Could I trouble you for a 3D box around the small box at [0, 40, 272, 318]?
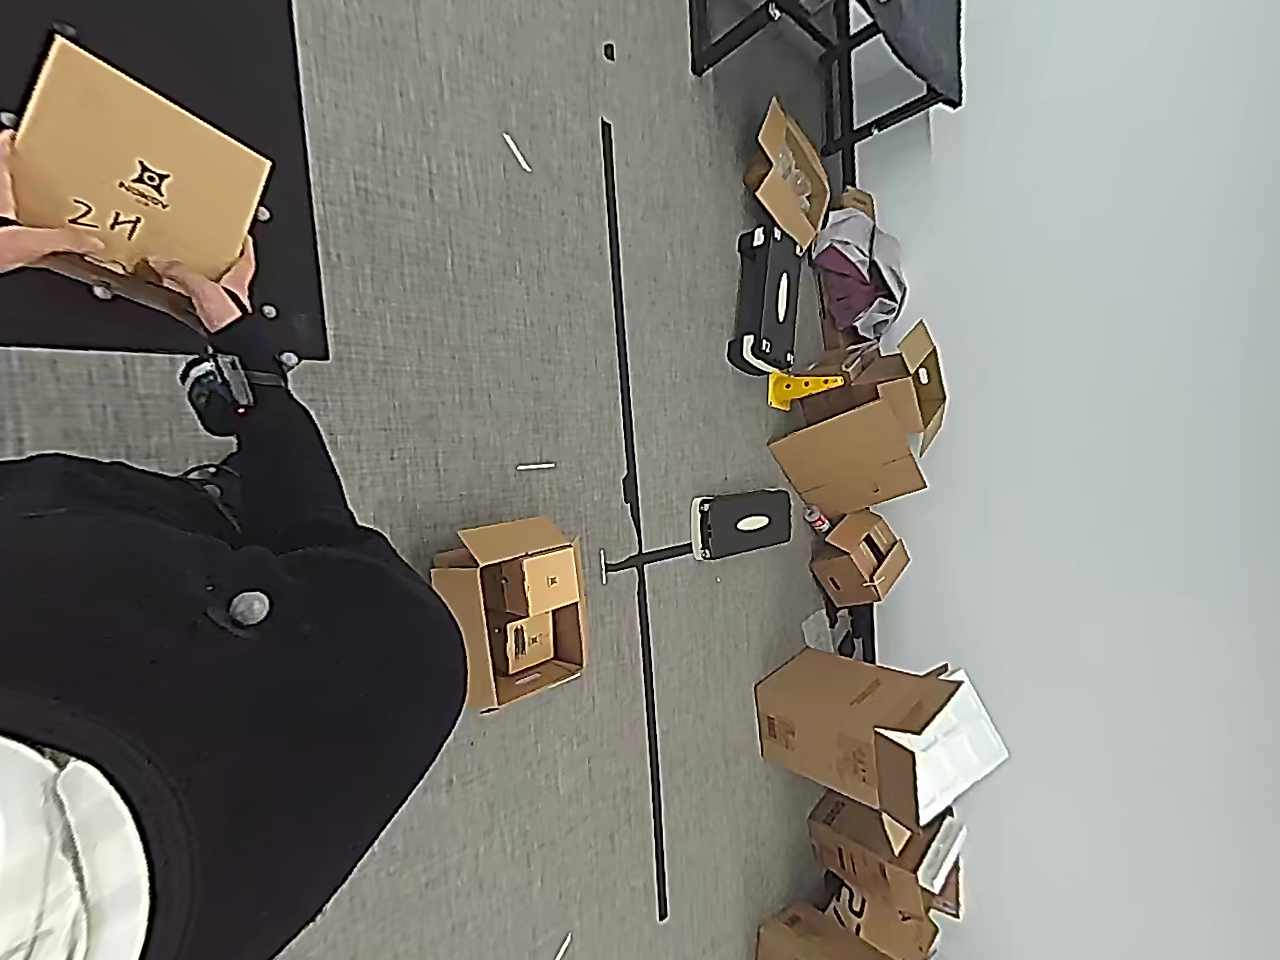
[{"bbox_3d":[-0.526,-0.288,0.565,0.168,0.176,0.179,21,82,-47],"label":"small box"}]
